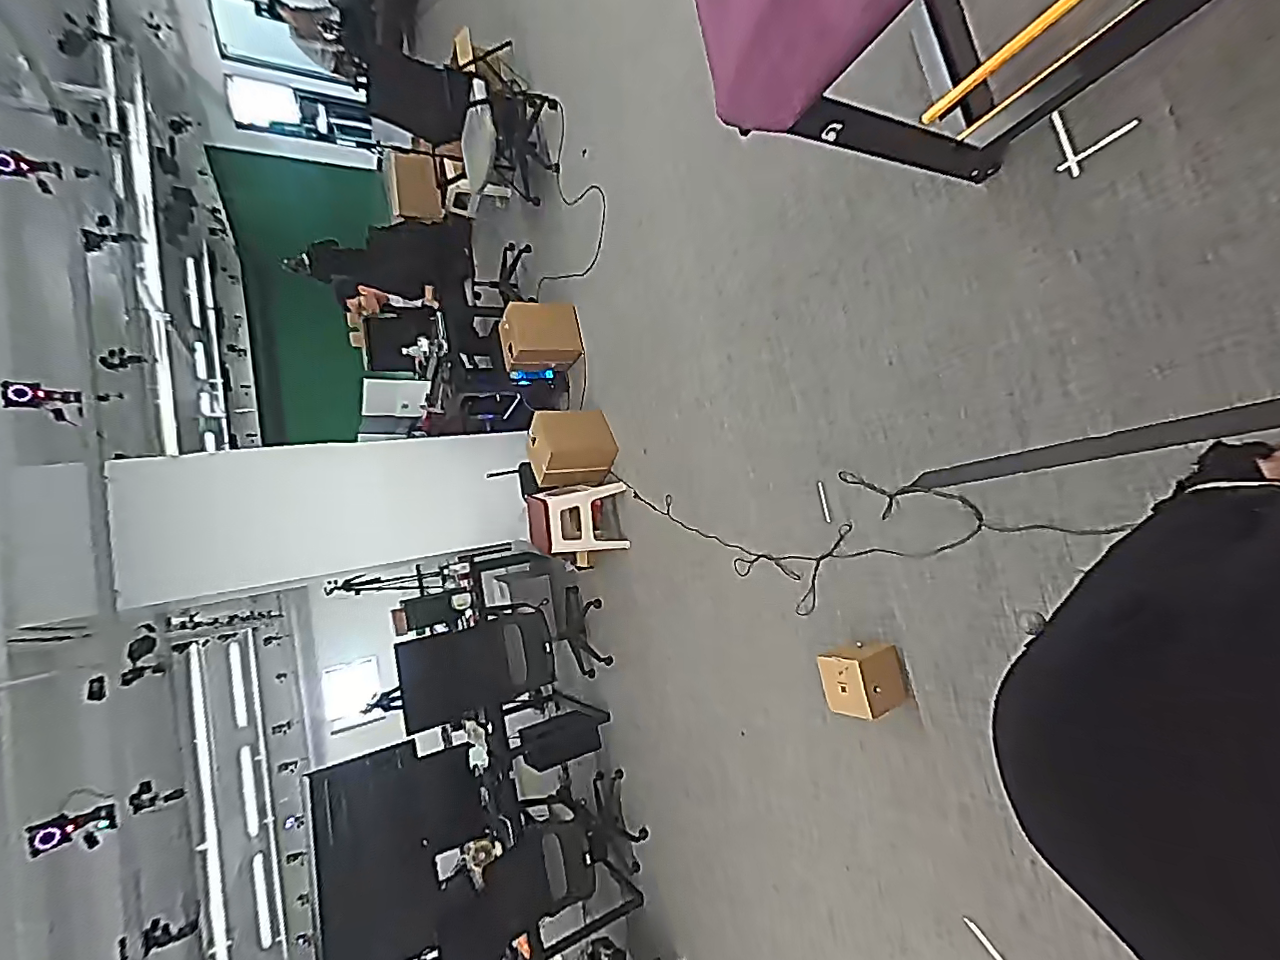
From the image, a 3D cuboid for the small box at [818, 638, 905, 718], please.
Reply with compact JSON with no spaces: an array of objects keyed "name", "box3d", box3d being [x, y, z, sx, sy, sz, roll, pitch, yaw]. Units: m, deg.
[{"name":"small box","box3d":[0.687,0.604,1.670,0.168,0.176,0.179,-22,79,59]}]
